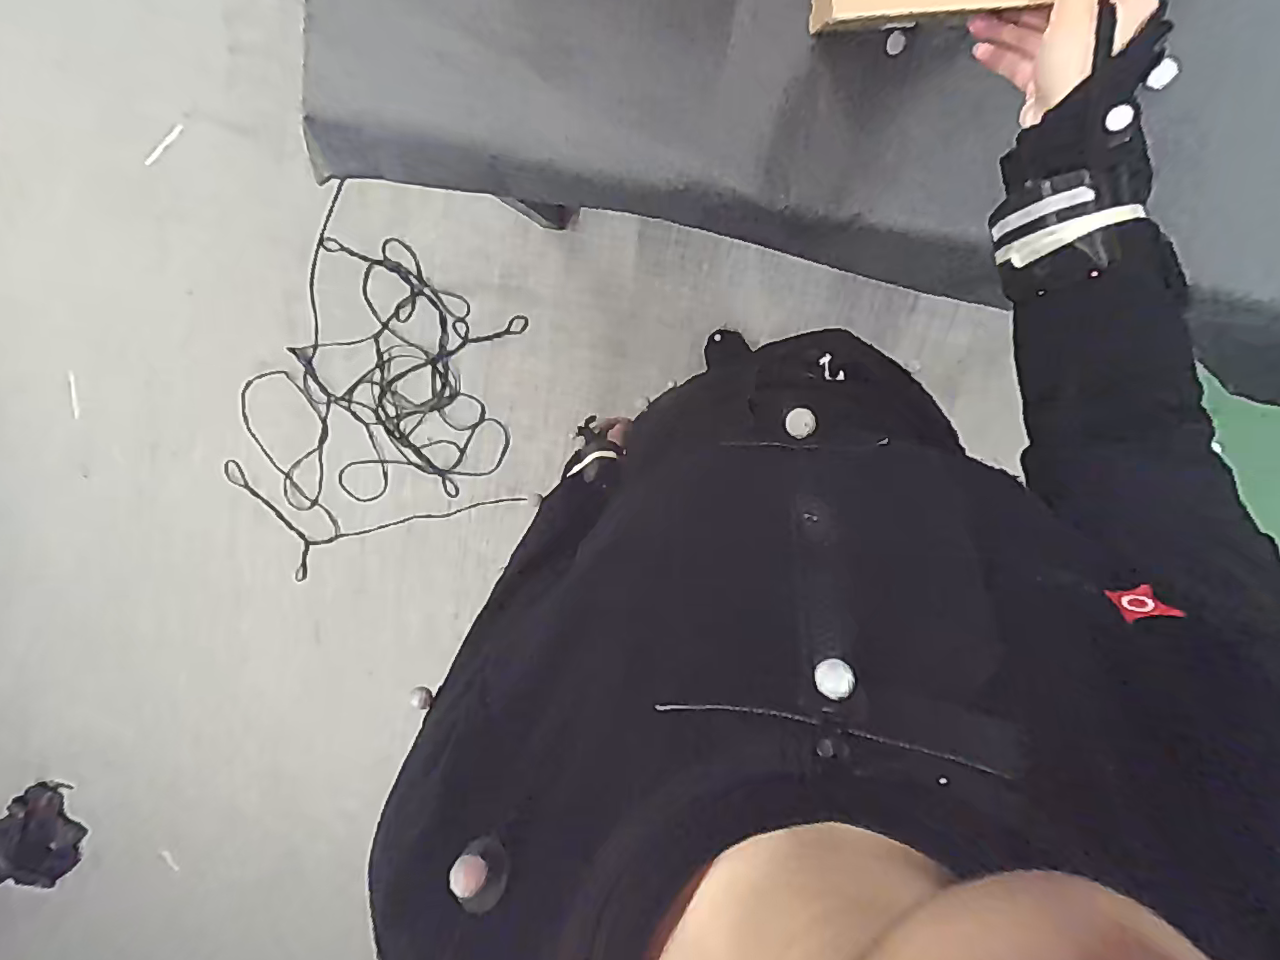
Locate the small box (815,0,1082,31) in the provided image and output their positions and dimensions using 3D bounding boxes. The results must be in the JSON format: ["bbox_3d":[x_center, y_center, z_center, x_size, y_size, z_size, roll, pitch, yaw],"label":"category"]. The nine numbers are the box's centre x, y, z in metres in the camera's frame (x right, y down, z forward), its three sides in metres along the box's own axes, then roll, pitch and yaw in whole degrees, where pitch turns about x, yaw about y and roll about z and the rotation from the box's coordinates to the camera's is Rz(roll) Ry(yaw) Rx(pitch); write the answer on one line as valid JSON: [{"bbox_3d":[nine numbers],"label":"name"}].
[{"bbox_3d":[0.214,-0.417,0.354,0.168,0.176,0.179,4,128,10],"label":"small box"}]
